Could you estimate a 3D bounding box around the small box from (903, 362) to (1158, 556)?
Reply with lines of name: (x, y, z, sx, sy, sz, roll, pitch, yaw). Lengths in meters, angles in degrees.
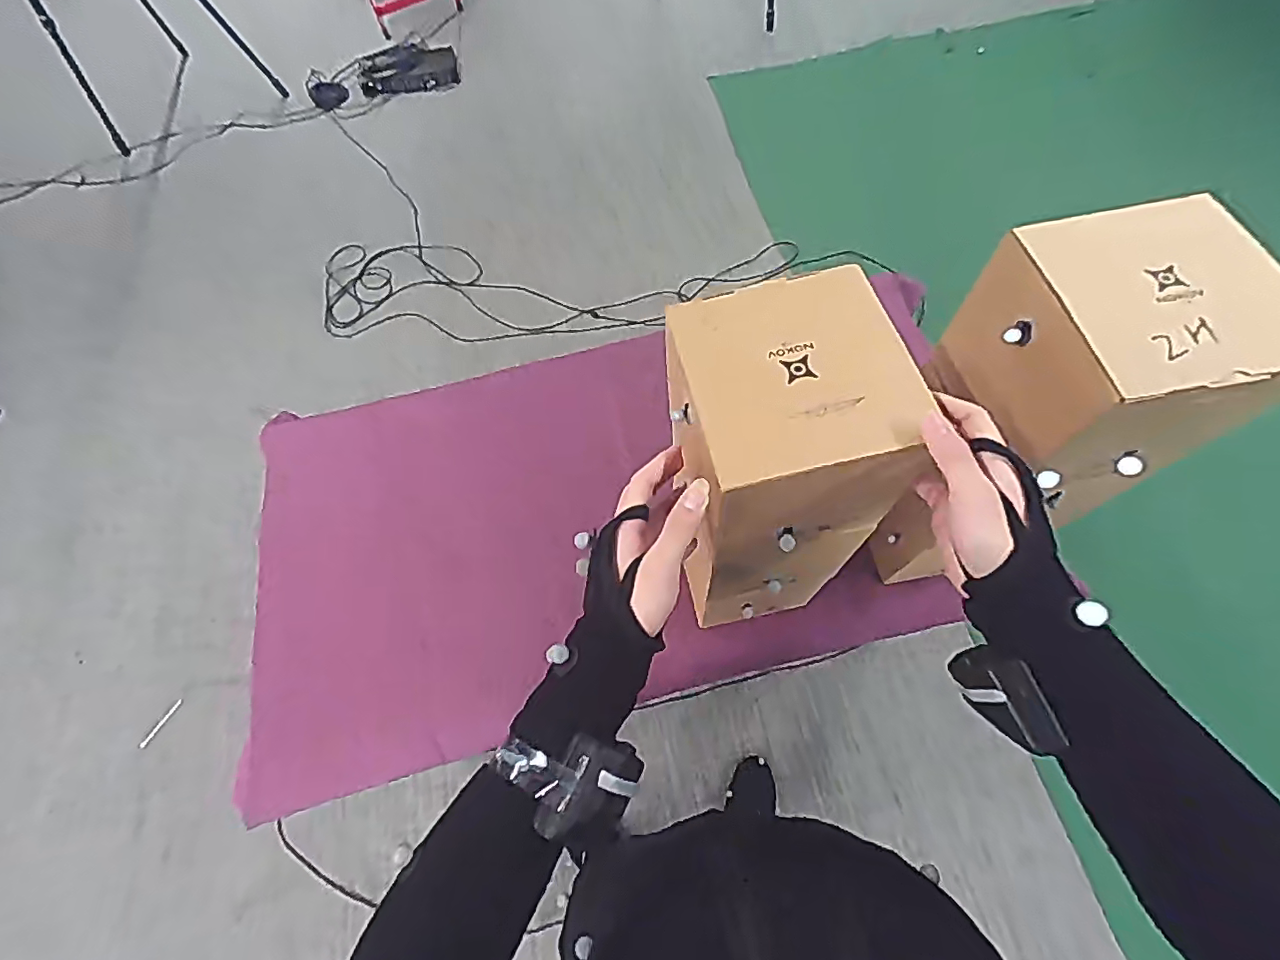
small box: (0.412, -0.030, 0.627, 0.168, 0.176, 0.179, -10, 63, 1)

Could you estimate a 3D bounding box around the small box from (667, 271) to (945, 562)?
small box: (0.122, -0.047, 0.480, 0.168, 0.176, 0.179, -13, 64, 0)

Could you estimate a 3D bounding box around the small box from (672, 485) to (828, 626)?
small box: (0.146, 0.101, 0.771, 0.168, 0.176, 0.179, -12, 63, -1)

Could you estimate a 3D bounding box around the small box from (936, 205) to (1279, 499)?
small box: (0.400, -0.103, 0.480, 0.168, 0.176, 0.179, -10, 64, 1)

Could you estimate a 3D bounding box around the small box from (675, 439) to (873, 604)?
small box: (0.135, 0.027, 0.625, 0.168, 0.176, 0.179, -12, 64, -1)
